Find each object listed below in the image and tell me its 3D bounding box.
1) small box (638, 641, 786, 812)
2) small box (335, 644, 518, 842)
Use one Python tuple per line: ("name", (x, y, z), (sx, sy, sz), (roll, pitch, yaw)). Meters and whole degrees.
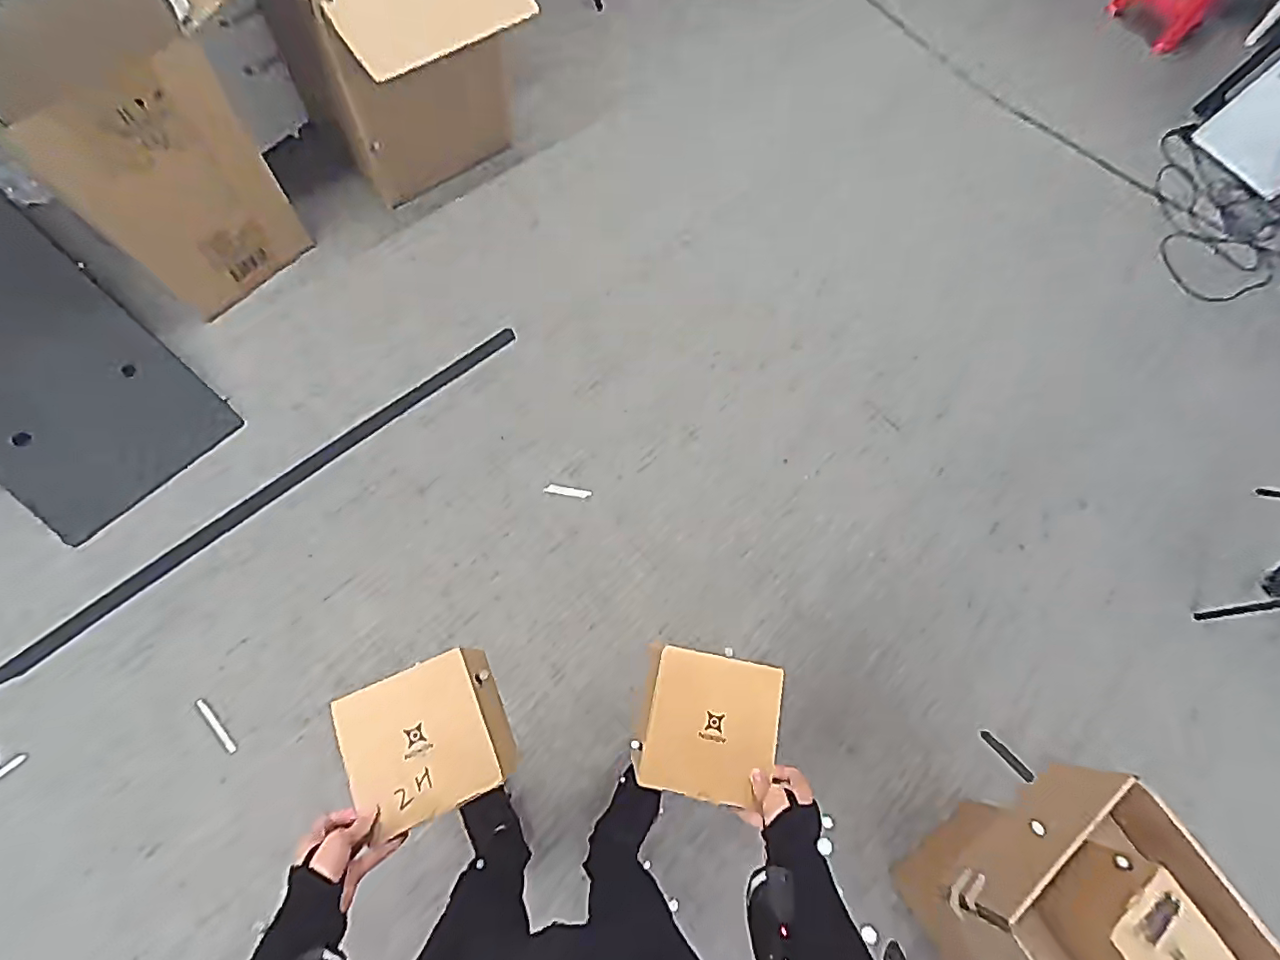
("small box", (0.093, 0.335, 0.768), (0.168, 0.176, 0.179), (12, 73, 1))
("small box", (-0.277, 0.341, 0.733), (0.168, 0.176, 0.179), (-21, 74, -11))
